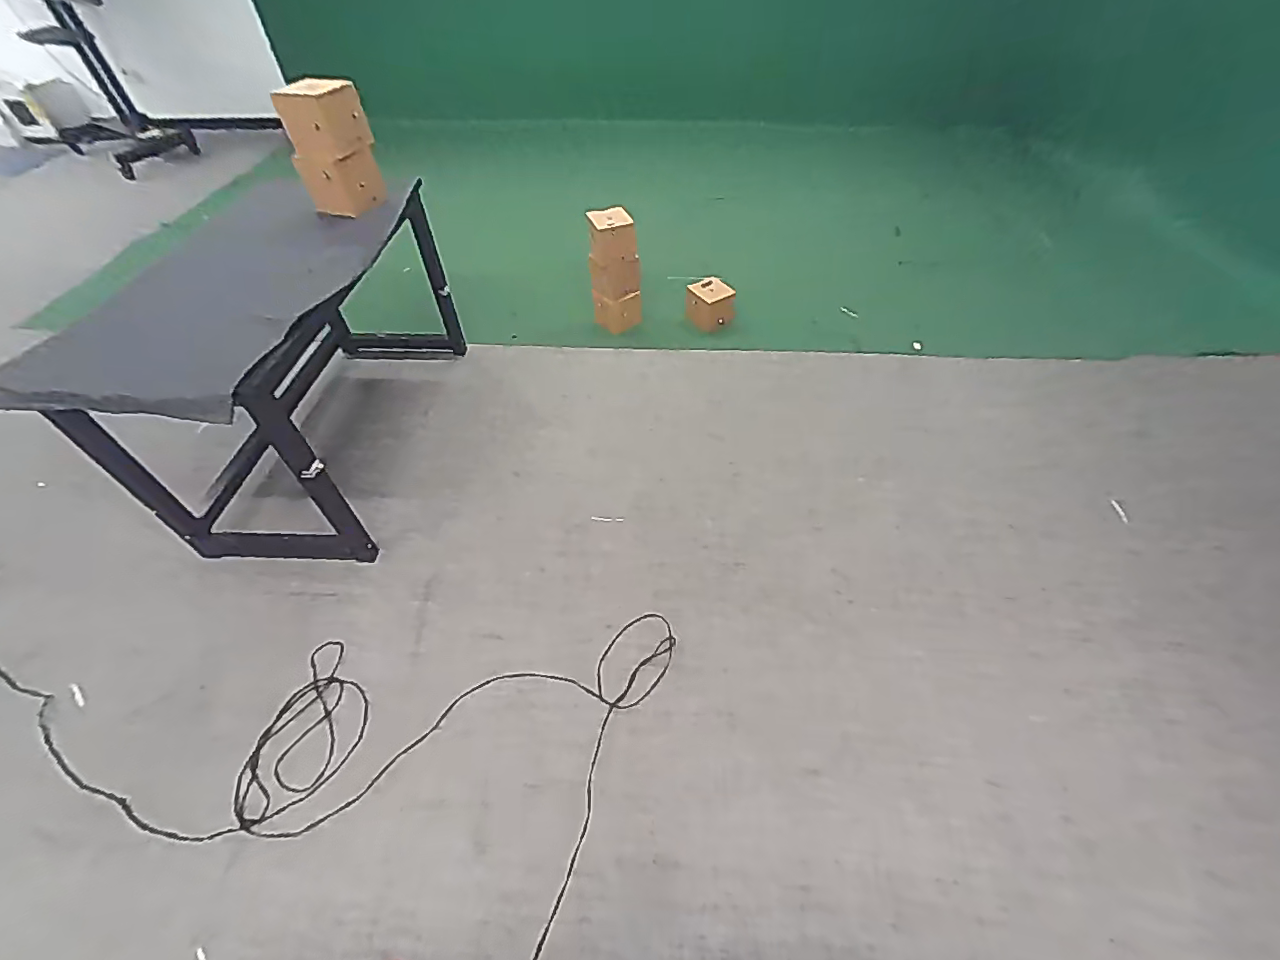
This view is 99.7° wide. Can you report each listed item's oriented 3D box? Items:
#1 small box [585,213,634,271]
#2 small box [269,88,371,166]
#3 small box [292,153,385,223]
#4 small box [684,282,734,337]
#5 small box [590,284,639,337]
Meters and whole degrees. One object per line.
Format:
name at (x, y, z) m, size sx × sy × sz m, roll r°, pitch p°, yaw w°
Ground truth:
small box at (-0.133, -1.041, 2.367) m, size 0.168 × 0.176 × 0.179 m, roll -18°, pitch 50°, yaw -13°
small box at (-0.975, -1.086, 1.667) m, size 0.179 × 0.176 × 0.168 m, roll 12°, pitch 49°, yaw 15°
small box at (-0.980, -0.965, 1.777) m, size 0.179 × 0.176 × 0.168 m, roll 16°, pitch 51°, yaw 18°
small box at (0.327, -0.815, 2.592) m, size 0.168 × 0.176 × 0.179 m, roll -28°, pitch 54°, yaw -21°
small box at (-0.119, -0.809, 2.600) m, size 0.168 × 0.176 × 0.179 m, roll -34°, pitch 55°, yaw -25°
